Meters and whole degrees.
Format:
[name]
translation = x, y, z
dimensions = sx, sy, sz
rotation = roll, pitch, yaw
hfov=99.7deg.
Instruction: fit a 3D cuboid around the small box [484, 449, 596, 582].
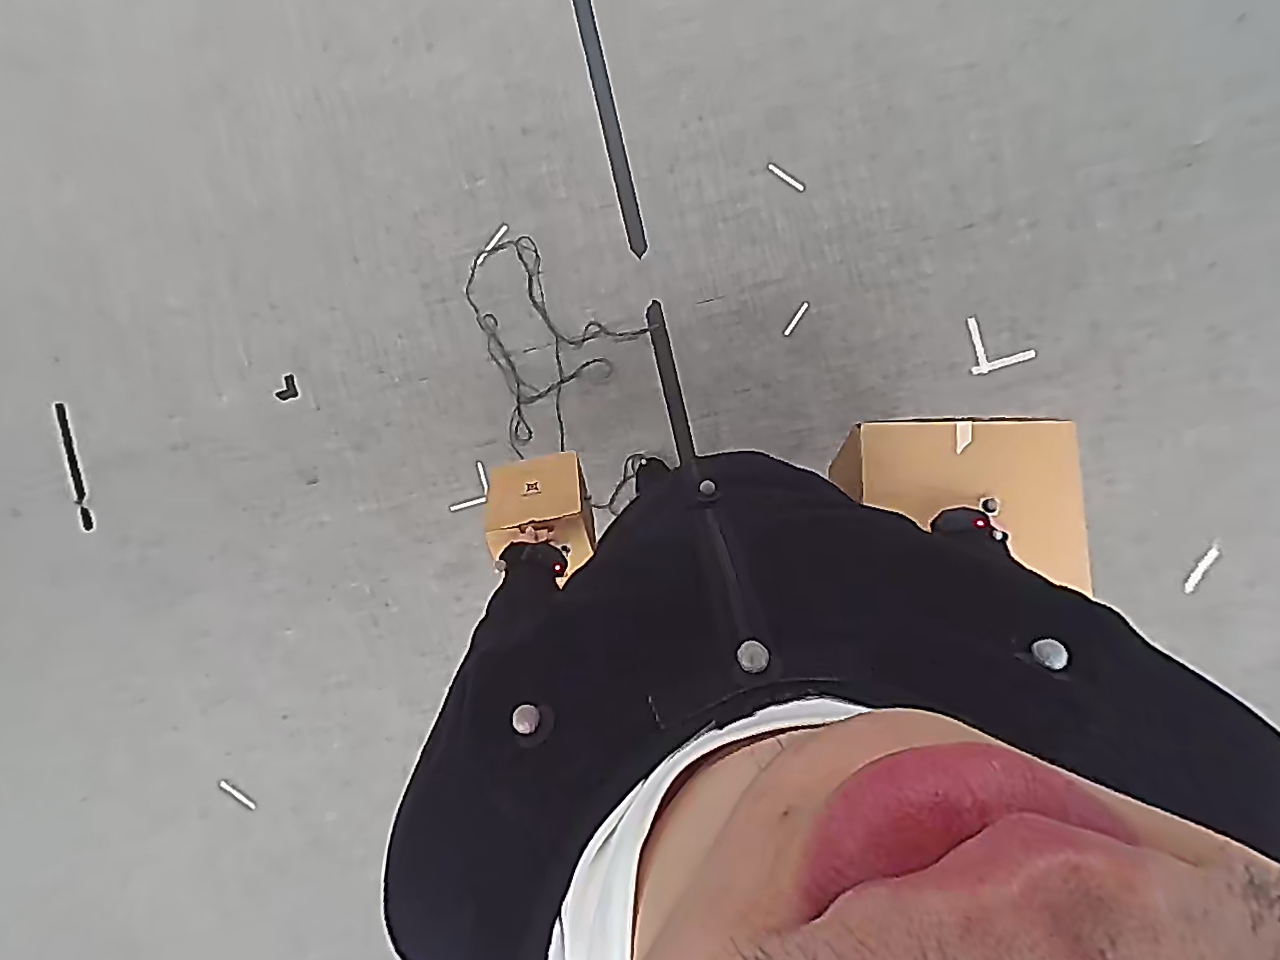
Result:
[small box]
translation = -0.179, 0.072, 1.004
dimensions = 0.168, 0.179, 0.176
rotation = -11, 131, -2
